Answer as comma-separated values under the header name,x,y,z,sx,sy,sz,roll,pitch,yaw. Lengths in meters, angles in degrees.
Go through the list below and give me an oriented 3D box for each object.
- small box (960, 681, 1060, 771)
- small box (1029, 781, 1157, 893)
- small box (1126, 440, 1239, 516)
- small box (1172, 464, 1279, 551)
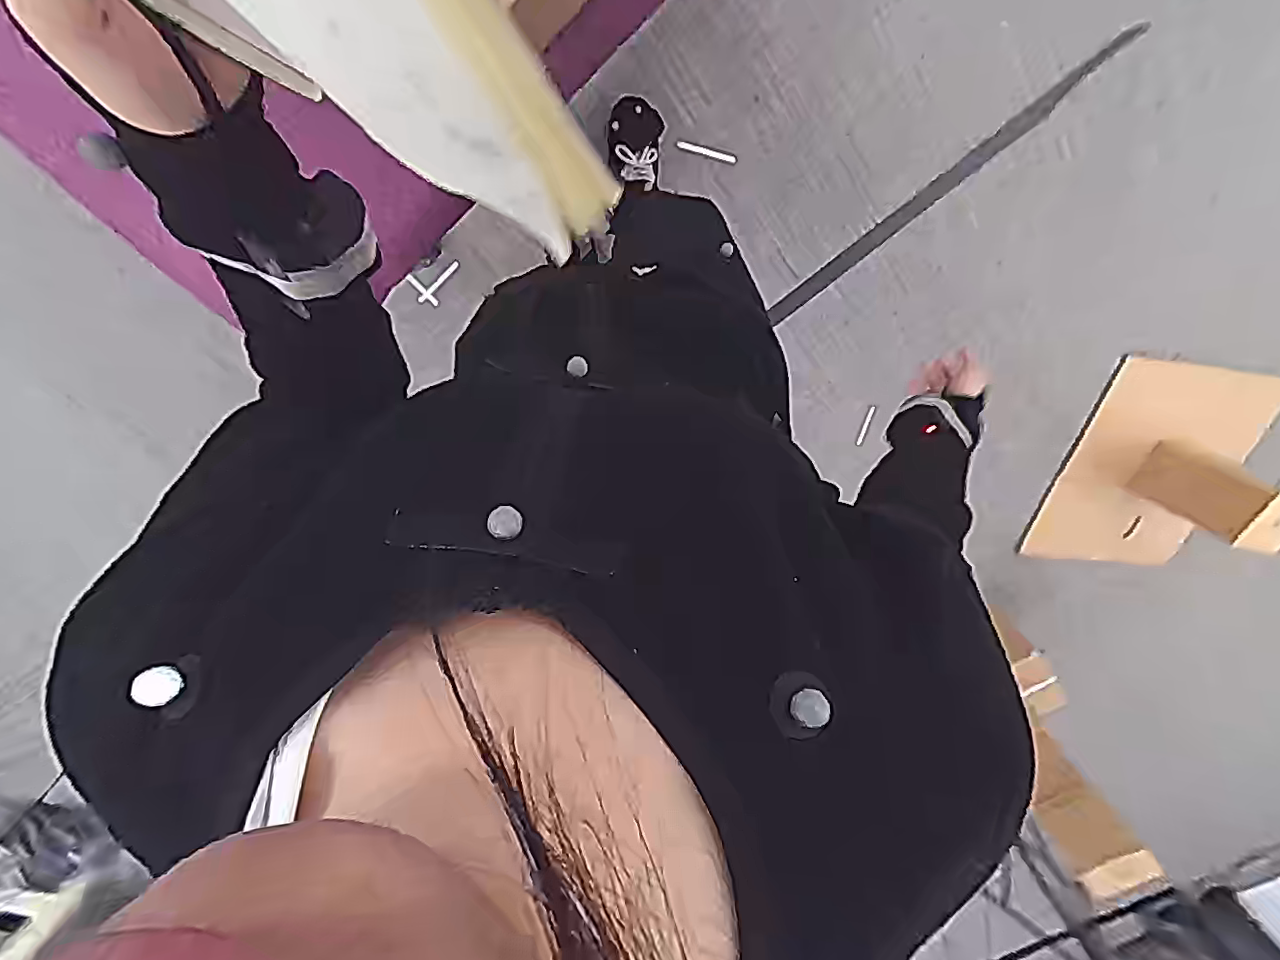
name,x,y,z,sx,sy,sz,roll,pitch,yaw
small box,1.146,0.760,1.690,0.168,0.176,0.179,-40,115,16
small box,1.168,0.922,1.404,0.168,0.176,0.179,-39,115,14
small box,1.679,-0.001,1.679,0.168,0.176,0.179,8,120,-11
small box,1.695,0.075,1.535,0.168,0.176,0.179,10,119,-11
